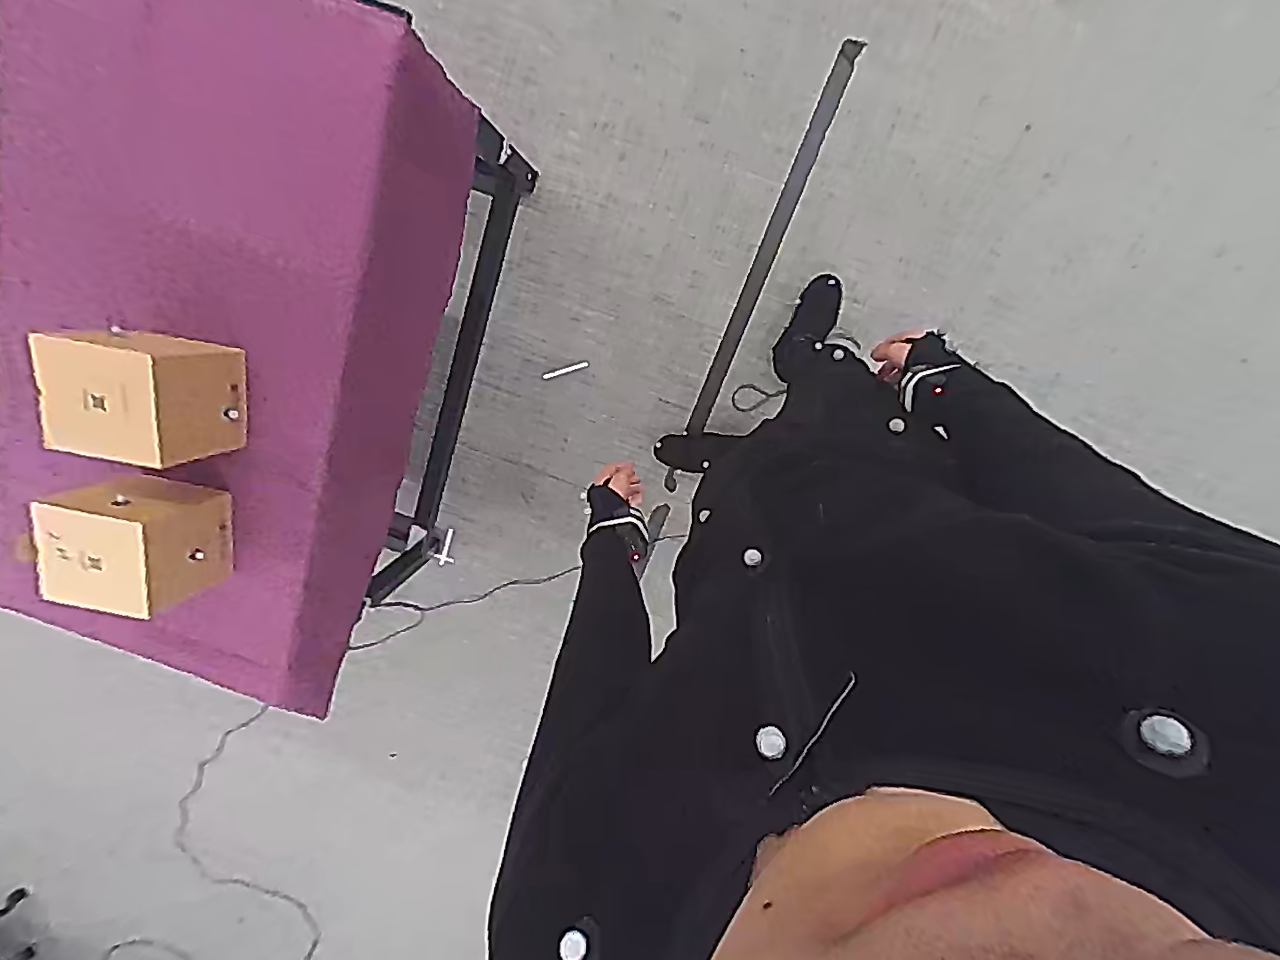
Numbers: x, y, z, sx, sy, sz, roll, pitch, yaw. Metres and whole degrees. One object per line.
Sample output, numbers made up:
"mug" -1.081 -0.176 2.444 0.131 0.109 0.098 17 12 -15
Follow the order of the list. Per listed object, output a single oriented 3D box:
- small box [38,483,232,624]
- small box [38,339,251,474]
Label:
"small box" -0.823 0.112 0.903 0.179 0.176 0.168 12 105 2
"small box" -0.750 -0.120 0.837 0.179 0.176 0.168 11 106 3
